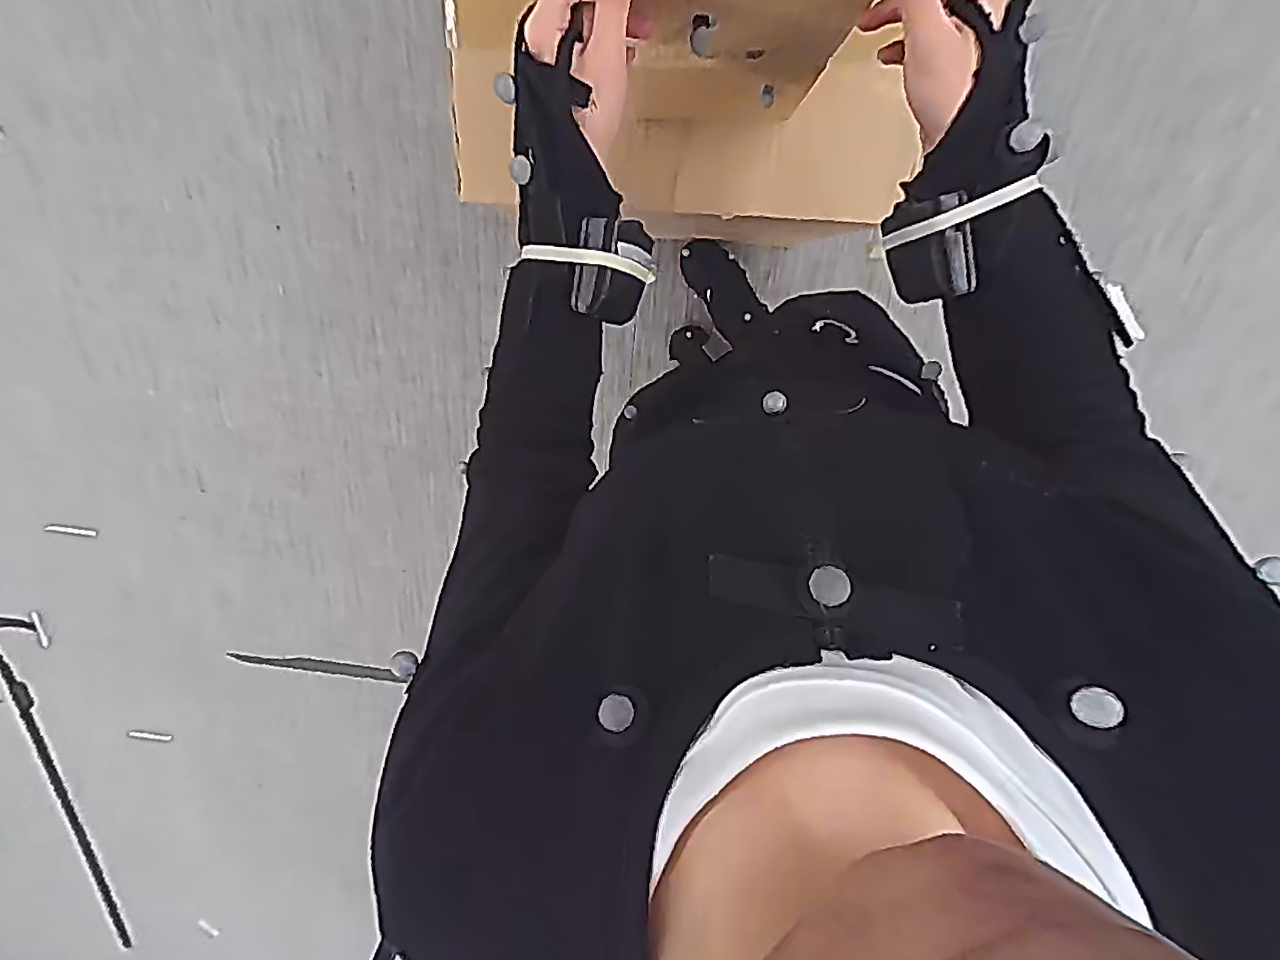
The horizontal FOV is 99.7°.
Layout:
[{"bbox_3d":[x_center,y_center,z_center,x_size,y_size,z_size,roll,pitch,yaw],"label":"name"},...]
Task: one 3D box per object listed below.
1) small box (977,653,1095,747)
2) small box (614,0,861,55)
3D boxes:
[{"bbox_3d":[1.062,0.591,1.467,0.179,0.176,0.168,4,111,3],"label":"small box"},{"bbox_3d":[0.066,-0.384,0.325,0.168,0.176,0.179,3,112,4],"label":"small box"}]
